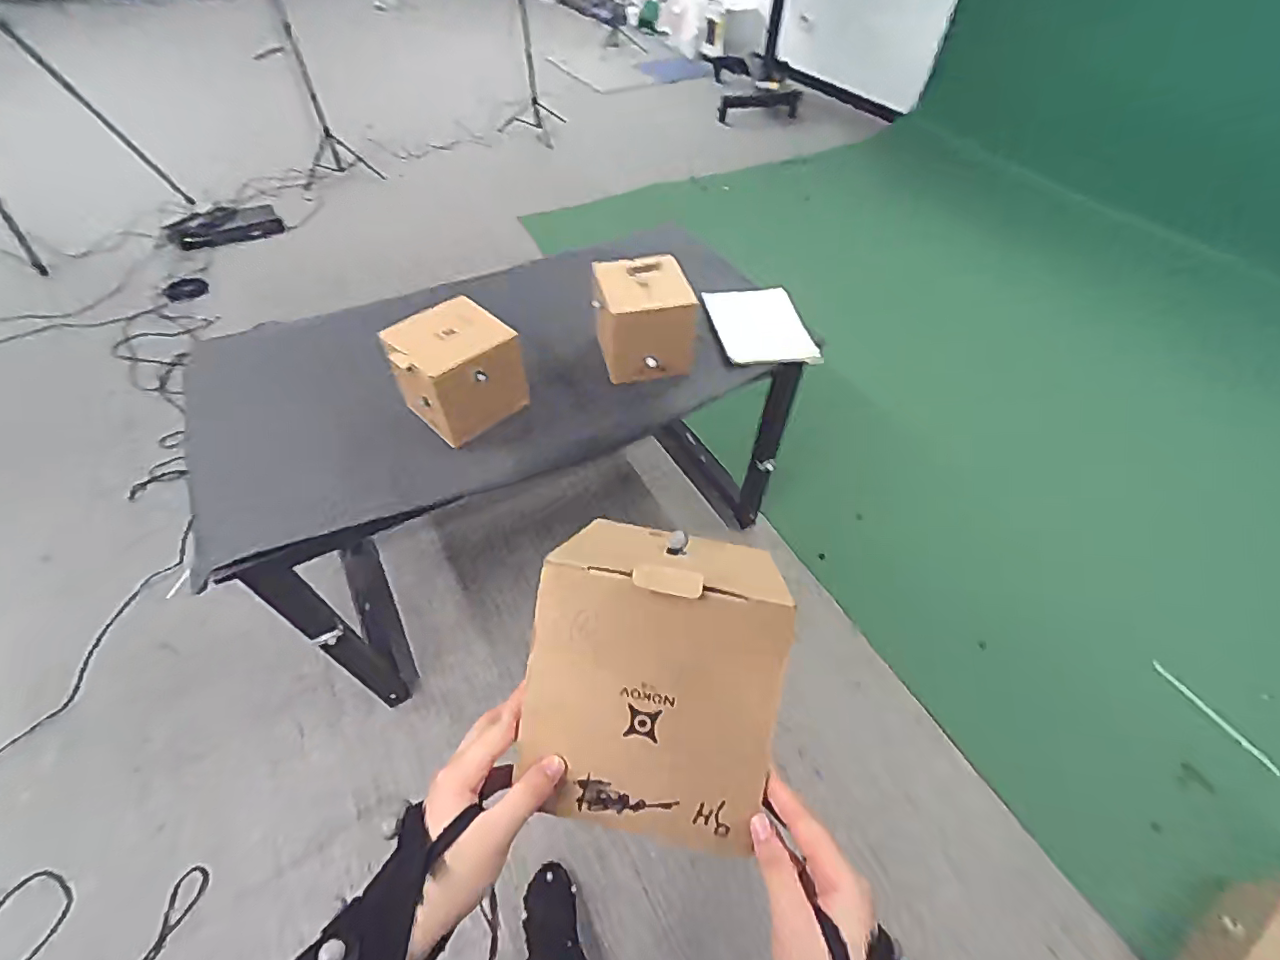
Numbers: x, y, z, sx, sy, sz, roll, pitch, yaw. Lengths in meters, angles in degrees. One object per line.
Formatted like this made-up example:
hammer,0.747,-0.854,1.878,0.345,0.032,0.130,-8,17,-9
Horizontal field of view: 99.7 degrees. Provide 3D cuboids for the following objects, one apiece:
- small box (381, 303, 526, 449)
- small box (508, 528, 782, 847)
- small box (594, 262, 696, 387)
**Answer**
small box,-0.331,-0.189,0.994,0.168,0.176,0.179,38,58,25
small box,0.008,0.144,0.443,0.168,0.176,0.179,9,96,6
small box,0.004,-0.314,1.098,0.168,0.176,0.179,-11,52,-9
